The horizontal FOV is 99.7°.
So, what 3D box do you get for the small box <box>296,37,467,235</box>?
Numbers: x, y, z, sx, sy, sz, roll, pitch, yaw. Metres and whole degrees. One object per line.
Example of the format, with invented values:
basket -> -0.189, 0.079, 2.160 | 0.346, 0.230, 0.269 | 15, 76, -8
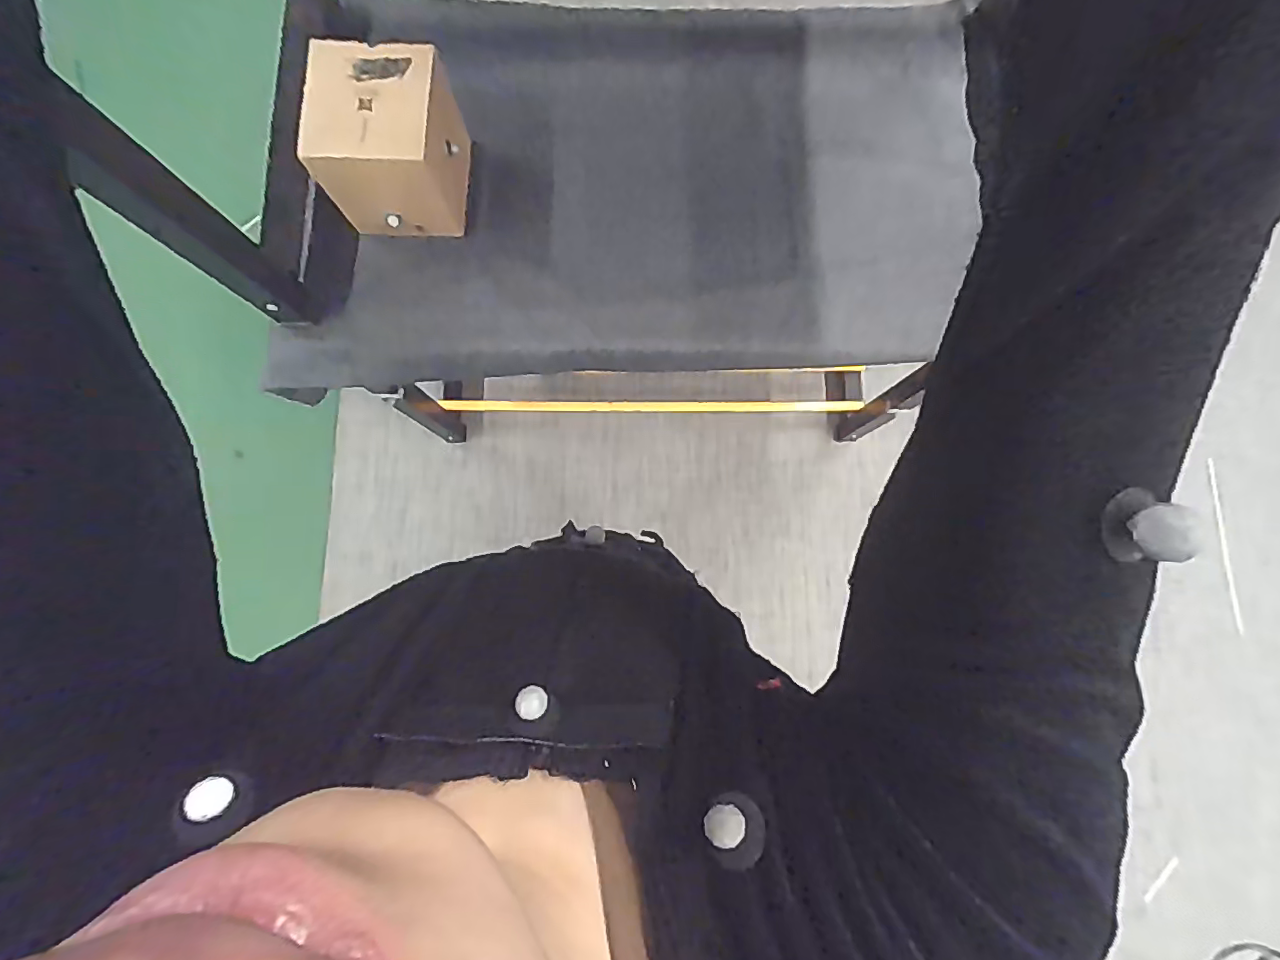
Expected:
small box -> -0.359, -0.488, 0.785 | 0.168, 0.176, 0.179 | 1, 82, -1
